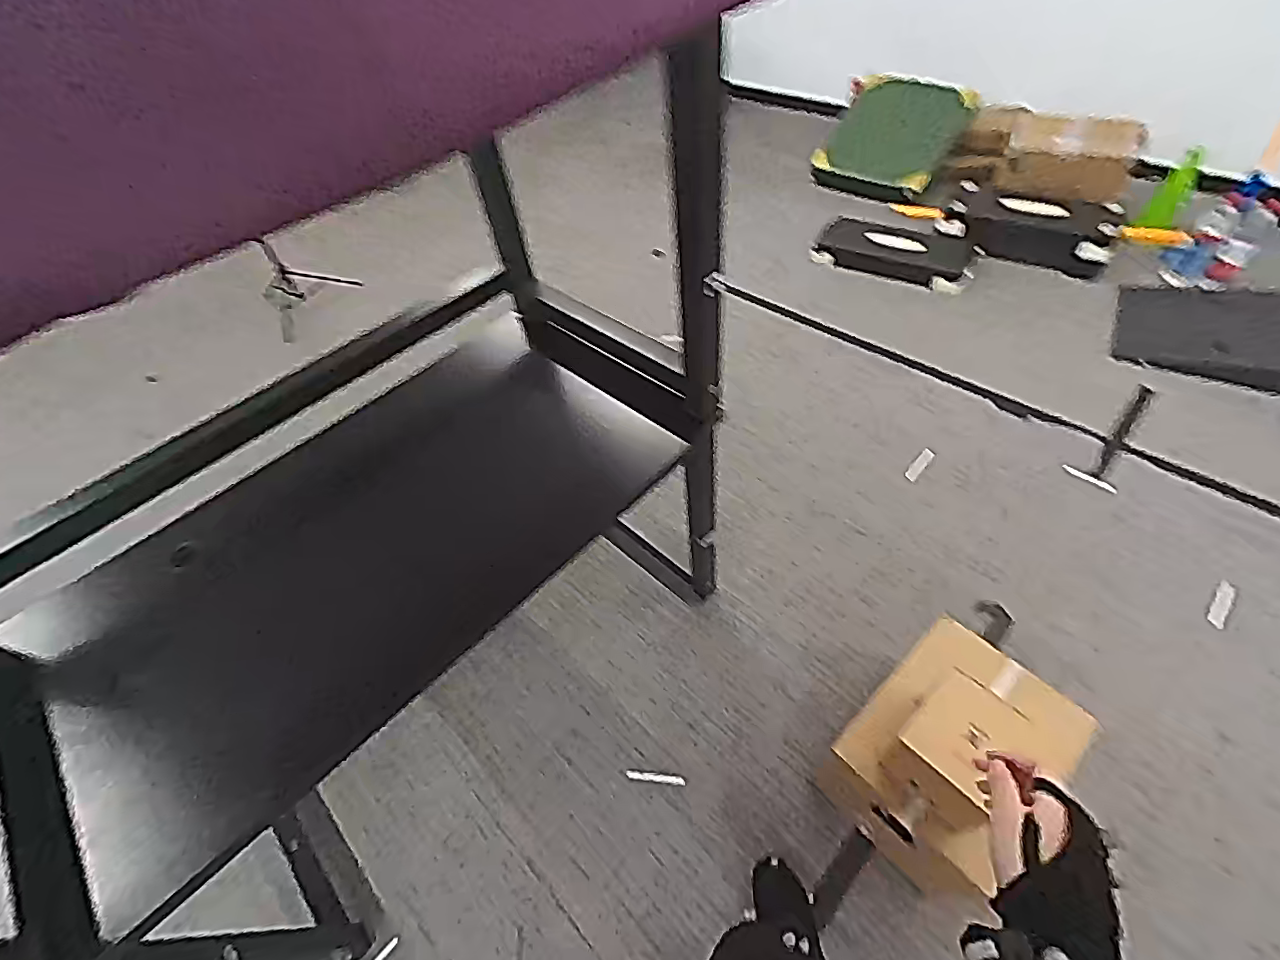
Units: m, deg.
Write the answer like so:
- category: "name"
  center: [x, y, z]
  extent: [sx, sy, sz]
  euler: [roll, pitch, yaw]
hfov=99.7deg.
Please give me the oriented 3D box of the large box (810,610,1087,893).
- category: "large box"
  center: [0.622, 0.570, 1.148]
  extent: [0.408, 0.320, 0.320]
  euler: [-38, 58, -22]

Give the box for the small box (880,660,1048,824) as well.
- category: "small box"
  center: [0.545, 0.455, 0.935]
  extent: [0.179, 0.176, 0.168]
  euler: [-38, 56, -20]
